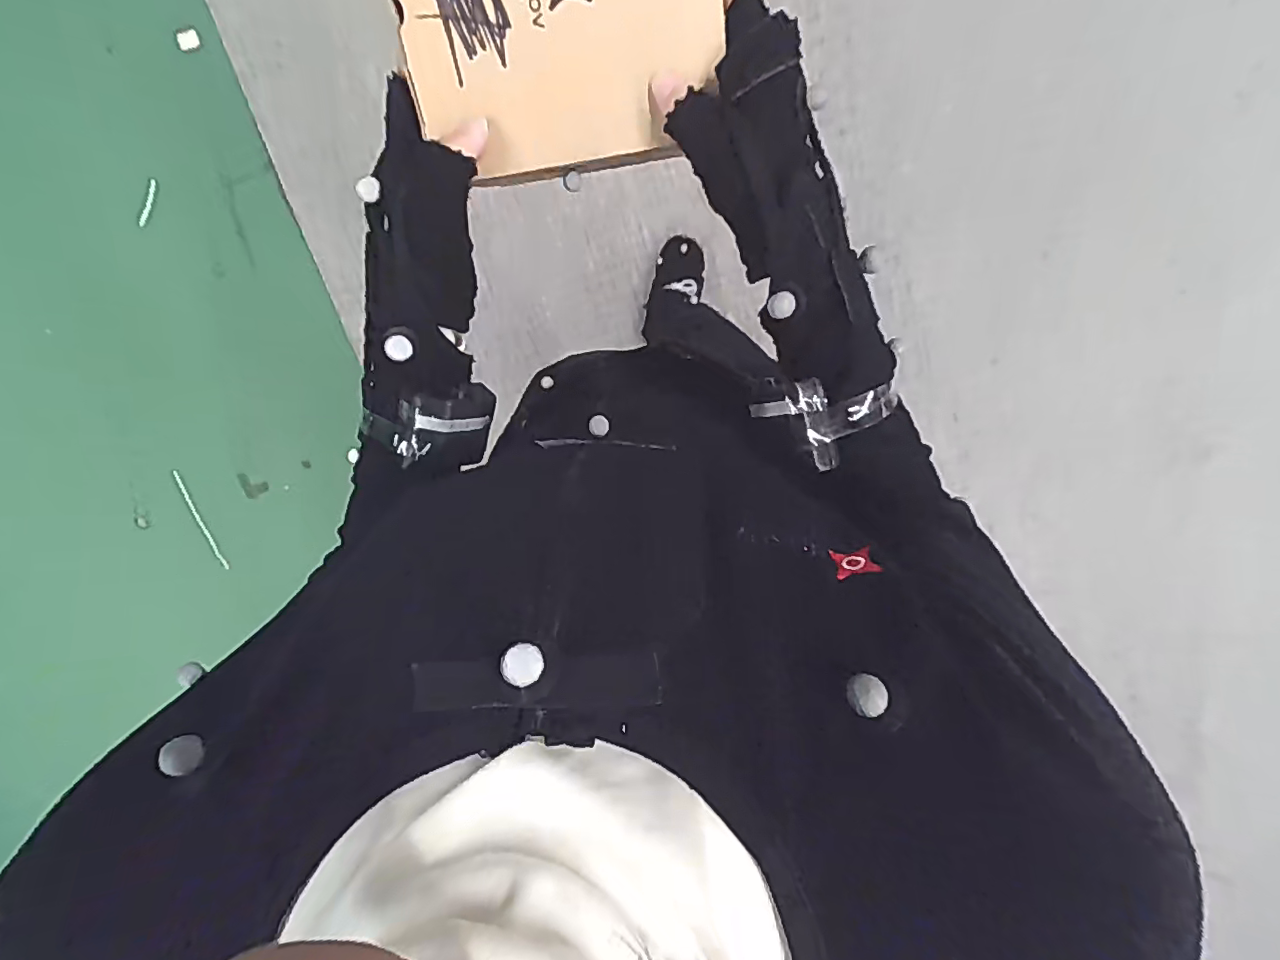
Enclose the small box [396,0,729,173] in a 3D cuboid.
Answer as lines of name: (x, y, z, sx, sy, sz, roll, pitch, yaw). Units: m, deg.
small box: (-0.044, -0.305, 0.349, 0.179, 0.176, 0.168, -7, 118, 4)
